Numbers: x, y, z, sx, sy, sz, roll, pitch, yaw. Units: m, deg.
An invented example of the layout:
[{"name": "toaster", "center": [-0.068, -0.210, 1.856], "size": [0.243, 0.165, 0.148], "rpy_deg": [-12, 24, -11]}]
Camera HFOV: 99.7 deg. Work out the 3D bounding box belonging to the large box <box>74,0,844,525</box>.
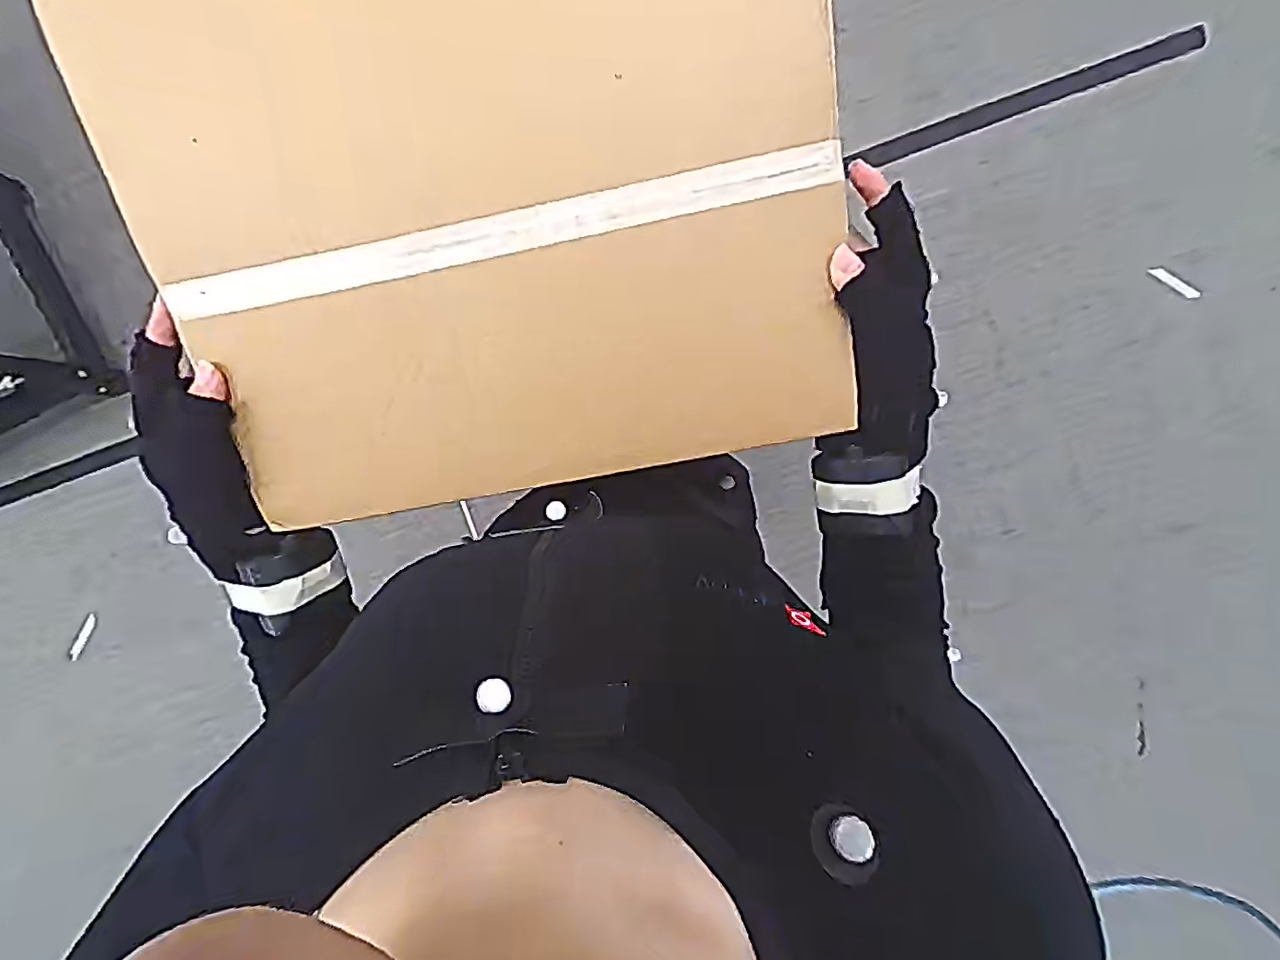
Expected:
[{"name": "large box", "center": [-0.083, -0.194, 0.466], "size": [0.408, 0.320, 0.320], "rpy_deg": [-10, 108, 3]}]
